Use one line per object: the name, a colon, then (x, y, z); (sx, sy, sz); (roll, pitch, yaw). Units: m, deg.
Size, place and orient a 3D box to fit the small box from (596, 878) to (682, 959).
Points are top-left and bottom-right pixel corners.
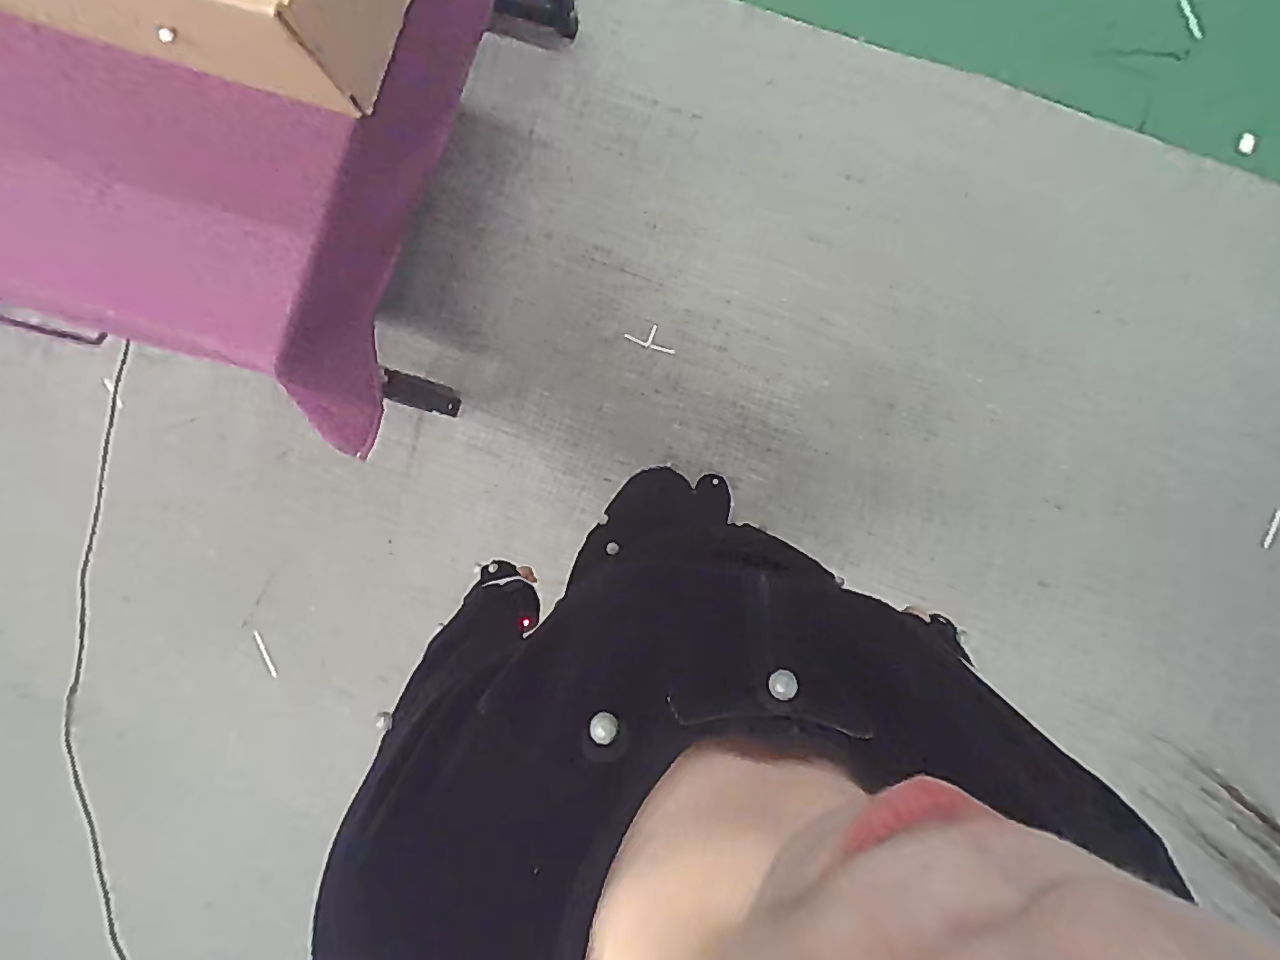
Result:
small box: (-0.007, 1.079, 1.253); (0.168, 0.176, 0.179); (17, 91, 4)
